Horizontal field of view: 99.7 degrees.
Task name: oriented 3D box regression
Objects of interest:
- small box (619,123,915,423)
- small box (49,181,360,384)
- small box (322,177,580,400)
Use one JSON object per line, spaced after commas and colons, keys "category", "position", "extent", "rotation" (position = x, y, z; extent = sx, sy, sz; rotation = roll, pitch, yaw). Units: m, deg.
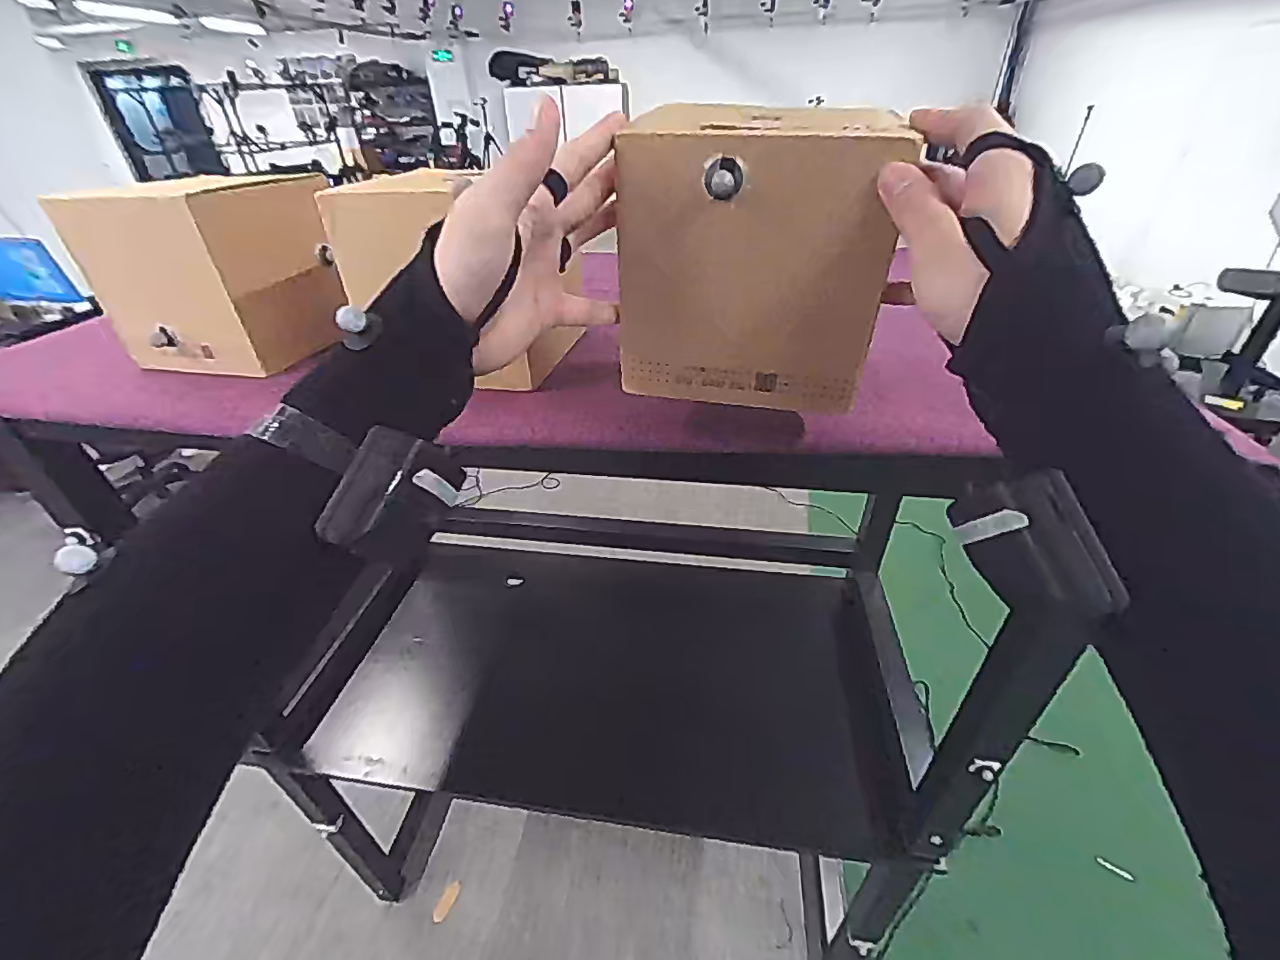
{"category": "small box", "position": [0.085, -0.164, 0.410], "extent": [0.168, 0.176, 0.179], "rotation": [7, 38, 11]}
{"category": "small box", "position": [-0.434, -0.218, 0.582], "extent": [0.168, 0.176, 0.179], "rotation": [5, 35, 12]}
{"category": "small box", "position": [-0.162, -0.196, 0.535], "extent": [0.168, 0.176, 0.179], "rotation": [5, 35, 11]}
